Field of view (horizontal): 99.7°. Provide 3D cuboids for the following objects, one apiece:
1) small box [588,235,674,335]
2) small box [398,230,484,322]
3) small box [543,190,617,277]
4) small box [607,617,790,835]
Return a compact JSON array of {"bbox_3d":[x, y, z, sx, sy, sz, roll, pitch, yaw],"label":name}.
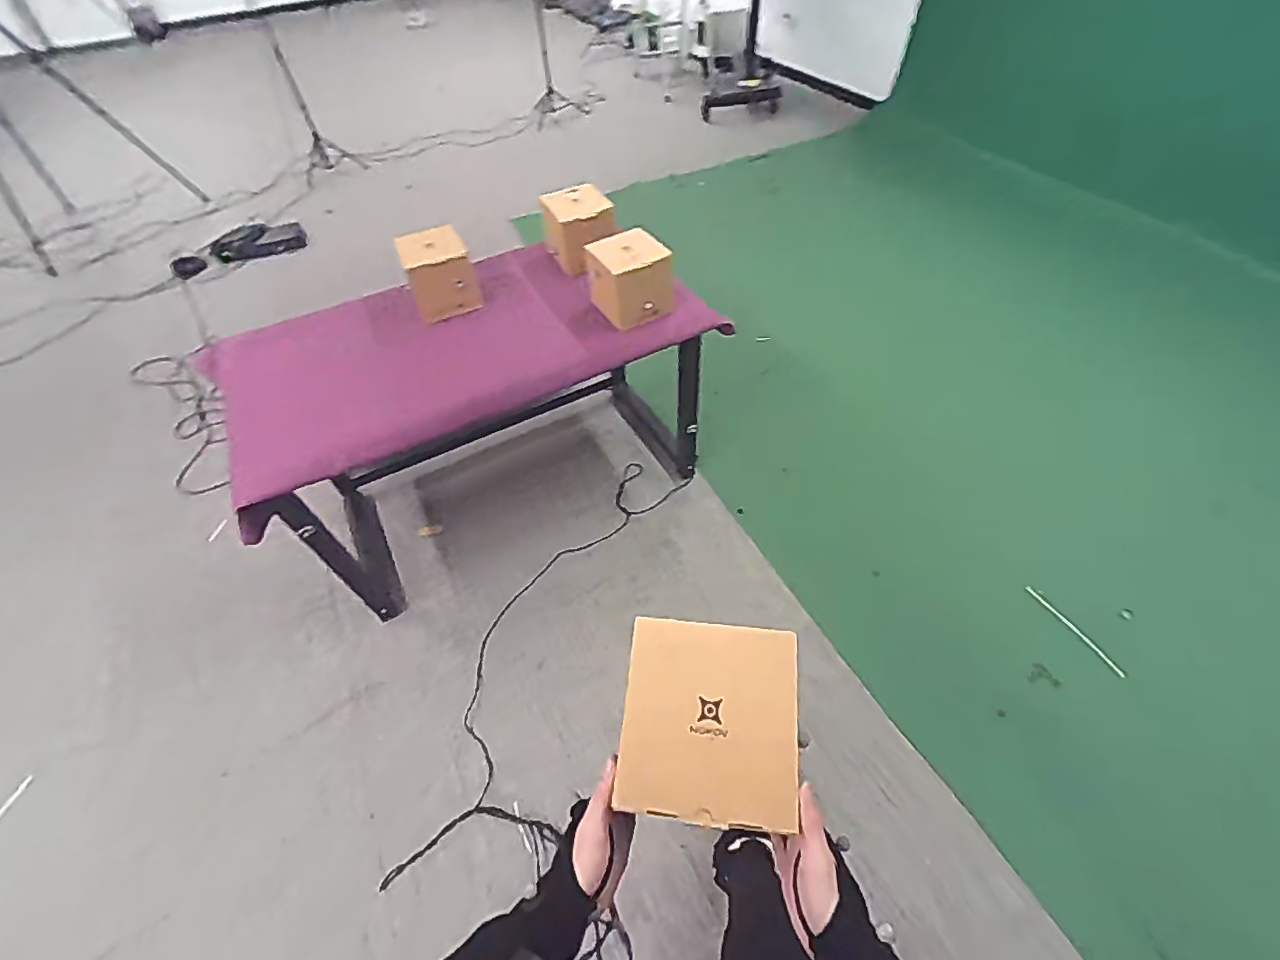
[{"bbox_3d":[-0.022,-0.517,1.439,0.168,0.176,0.179,-25,54,-15],"label":"small box"},{"bbox_3d":[-0.548,-0.560,1.503,0.168,0.176,0.179,-21,53,-15],"label":"small box"},{"bbox_3d":[-0.173,-0.729,1.618,0.168,0.176,0.179,-23,56,-15],"label":"small box"},{"bbox_3d":[0.063,0.262,0.586,0.168,0.176,0.179,4,64,6],"label":"small box"}]
